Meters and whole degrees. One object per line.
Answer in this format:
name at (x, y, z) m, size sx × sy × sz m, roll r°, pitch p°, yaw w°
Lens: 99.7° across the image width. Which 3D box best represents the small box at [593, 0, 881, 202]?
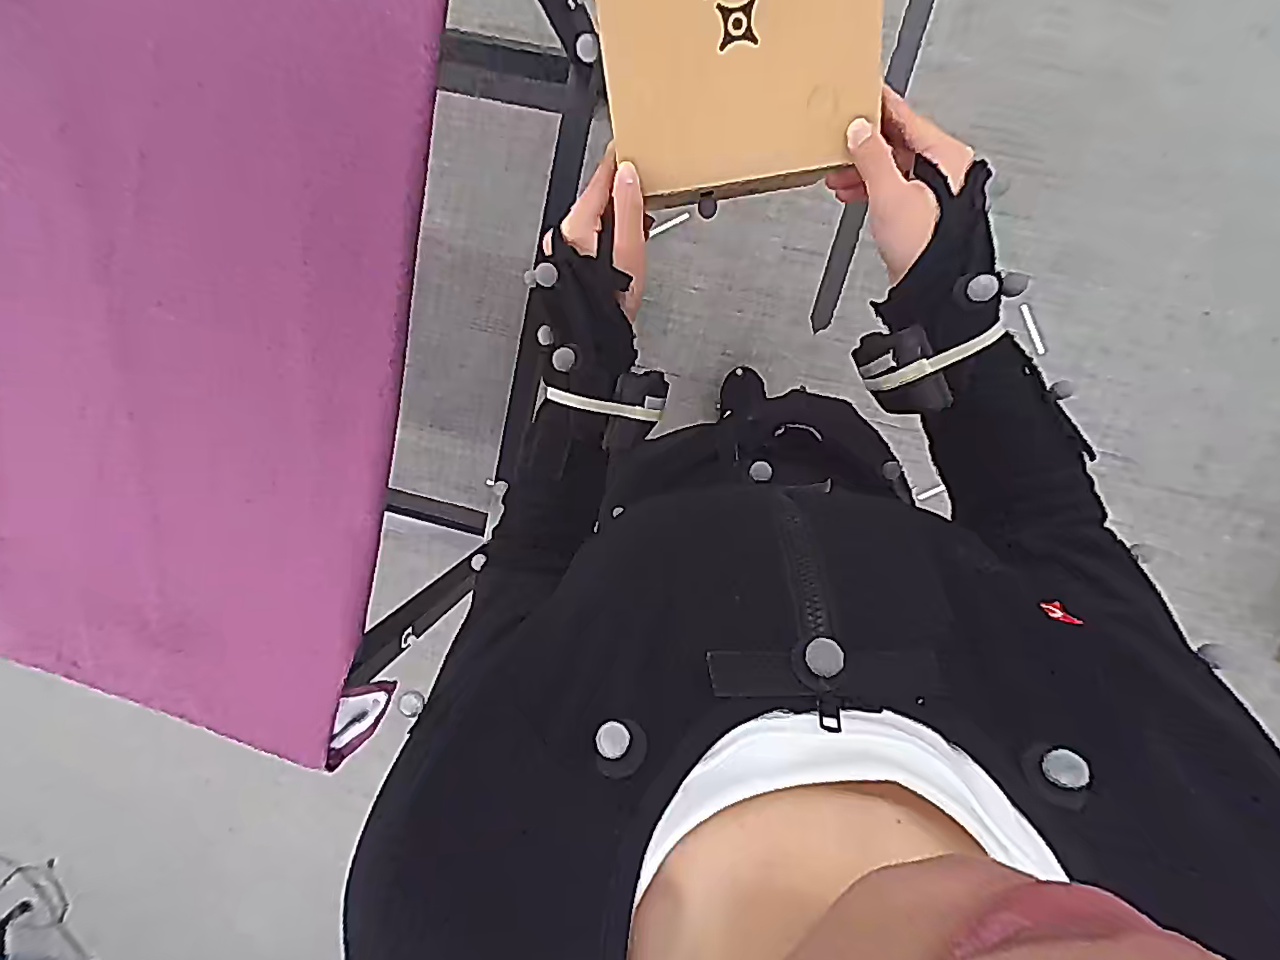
small box at (0.061, -0.306, 0.385) m, size 0.168 × 0.176 × 0.179 m, roll -6°, pitch 112°, yaw 7°
